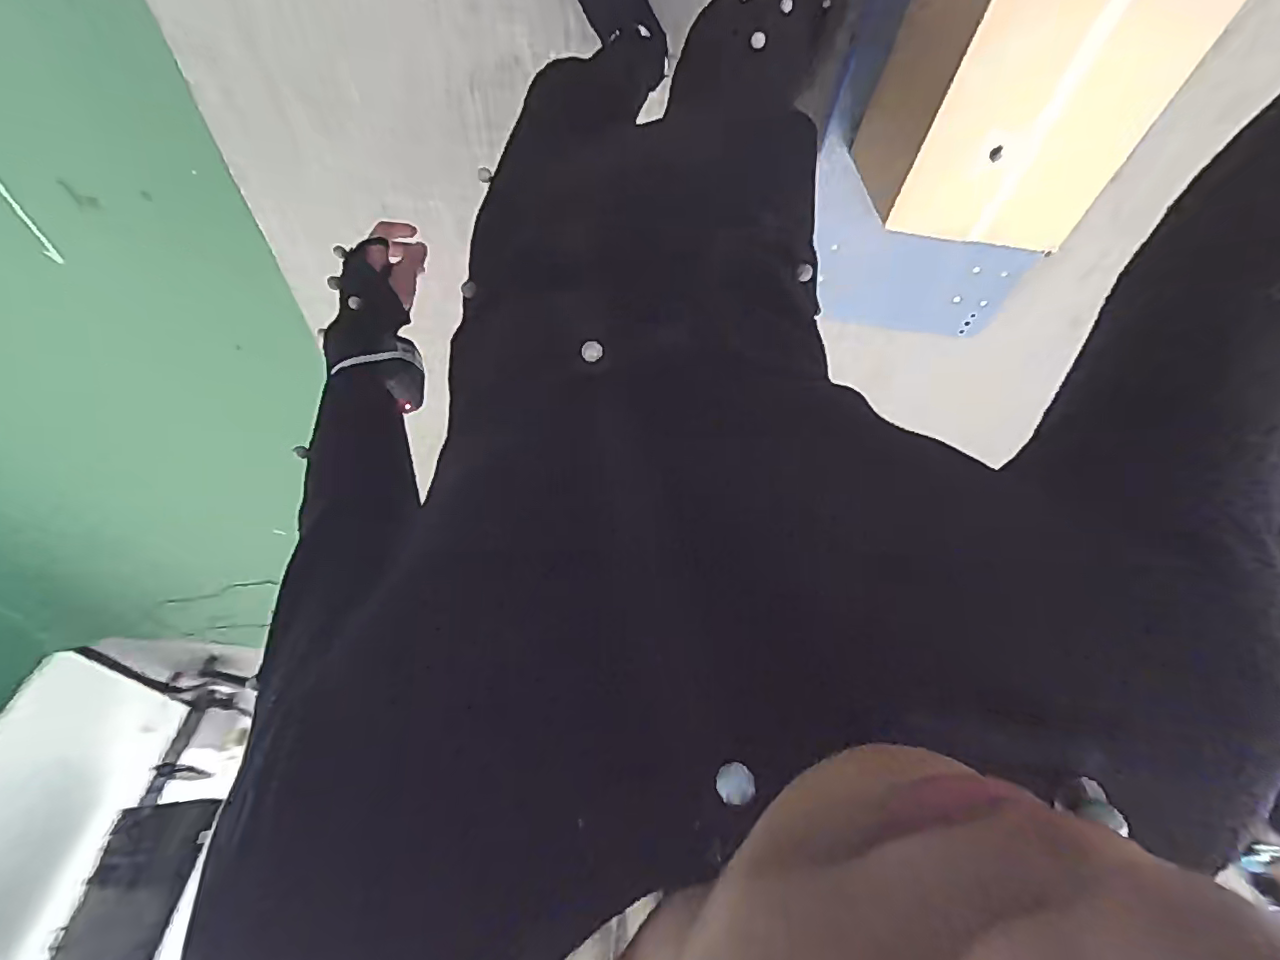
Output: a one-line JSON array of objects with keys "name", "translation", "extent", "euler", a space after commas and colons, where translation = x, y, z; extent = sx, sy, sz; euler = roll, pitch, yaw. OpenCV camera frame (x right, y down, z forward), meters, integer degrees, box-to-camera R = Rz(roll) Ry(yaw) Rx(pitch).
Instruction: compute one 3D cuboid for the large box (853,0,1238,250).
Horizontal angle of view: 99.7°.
[{"name": "large box", "translation": [0.597, -0.655, 0.873], "extent": [0.320, 0.320, 0.408], "euler": [7, 142, -3]}]
